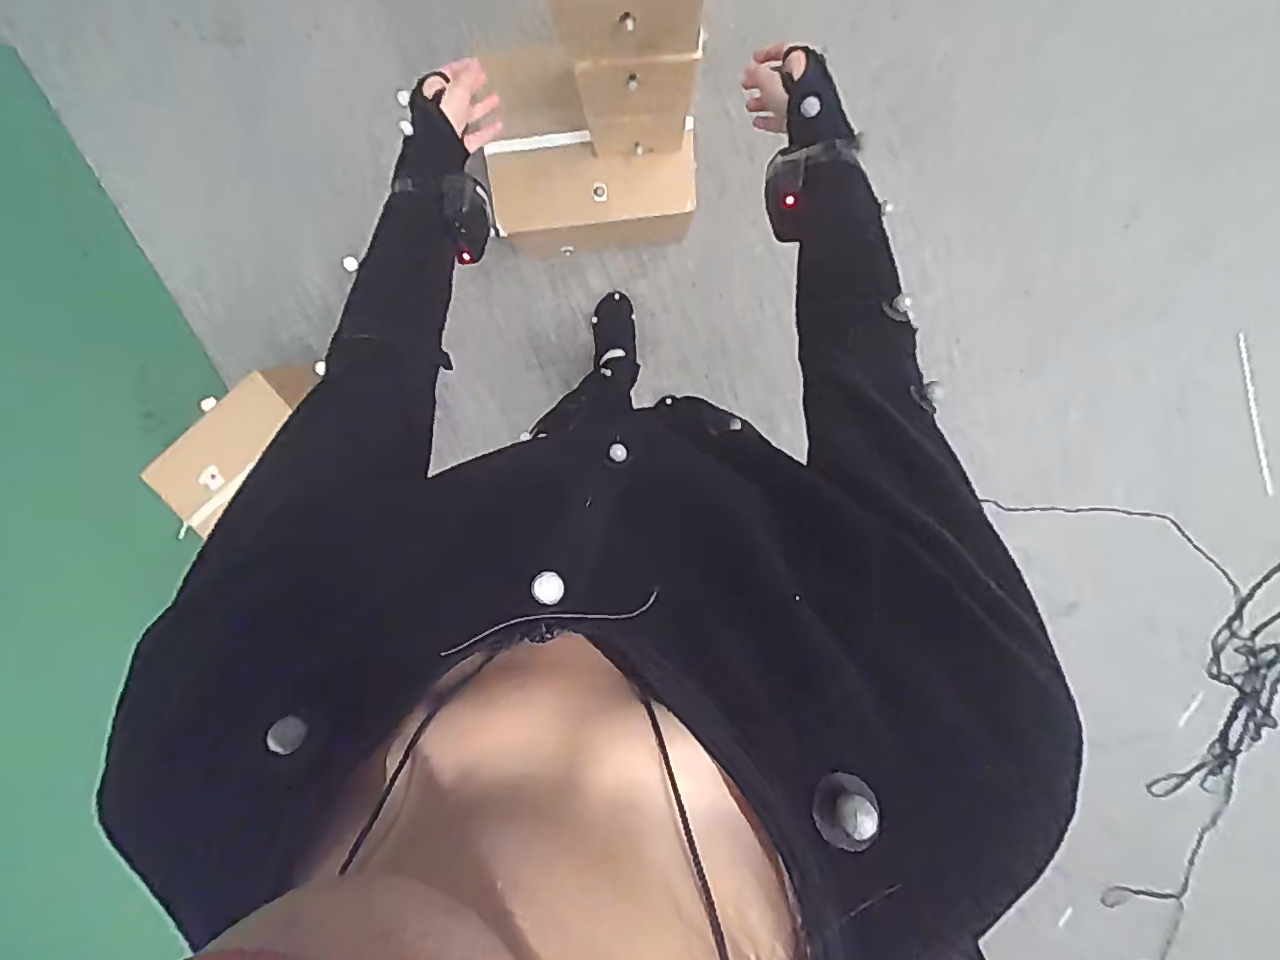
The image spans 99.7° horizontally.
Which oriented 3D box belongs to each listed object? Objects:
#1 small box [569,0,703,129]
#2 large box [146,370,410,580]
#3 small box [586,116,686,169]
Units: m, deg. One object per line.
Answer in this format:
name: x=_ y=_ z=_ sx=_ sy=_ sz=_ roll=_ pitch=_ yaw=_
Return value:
small box: x=-0.006 y=-0.638 z=0.786 sx=0.179 sy=0.176 sz=0.168 roll=-3 pitch=103 yaw=2
large box: x=-0.885 y=-0.030 z=1.376 sx=0.408 sy=0.320 sz=0.320 roll=-36 pitch=100 yaw=11
small box: x=-0.011 y=-0.673 z=0.945 sx=0.168 sy=0.176 sz=0.179 roll=-4 pitch=103 yaw=2
